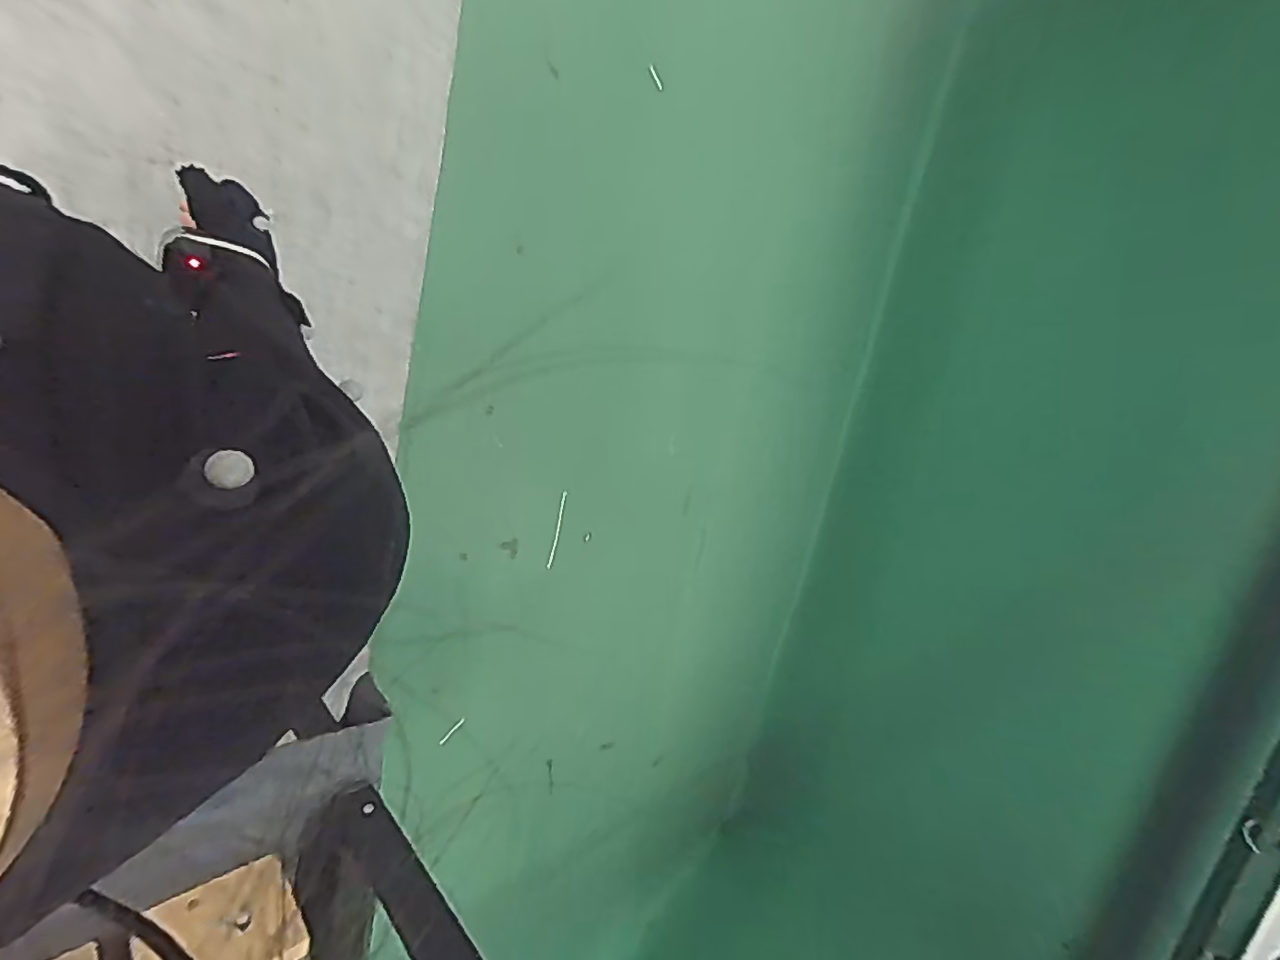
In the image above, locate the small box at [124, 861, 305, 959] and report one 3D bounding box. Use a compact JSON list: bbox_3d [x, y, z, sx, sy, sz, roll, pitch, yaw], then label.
[{"bbox_3d":[-0.580,0.668,0.734,0.168,0.176,0.179,-2,109,-48],"label":"small box"}]
